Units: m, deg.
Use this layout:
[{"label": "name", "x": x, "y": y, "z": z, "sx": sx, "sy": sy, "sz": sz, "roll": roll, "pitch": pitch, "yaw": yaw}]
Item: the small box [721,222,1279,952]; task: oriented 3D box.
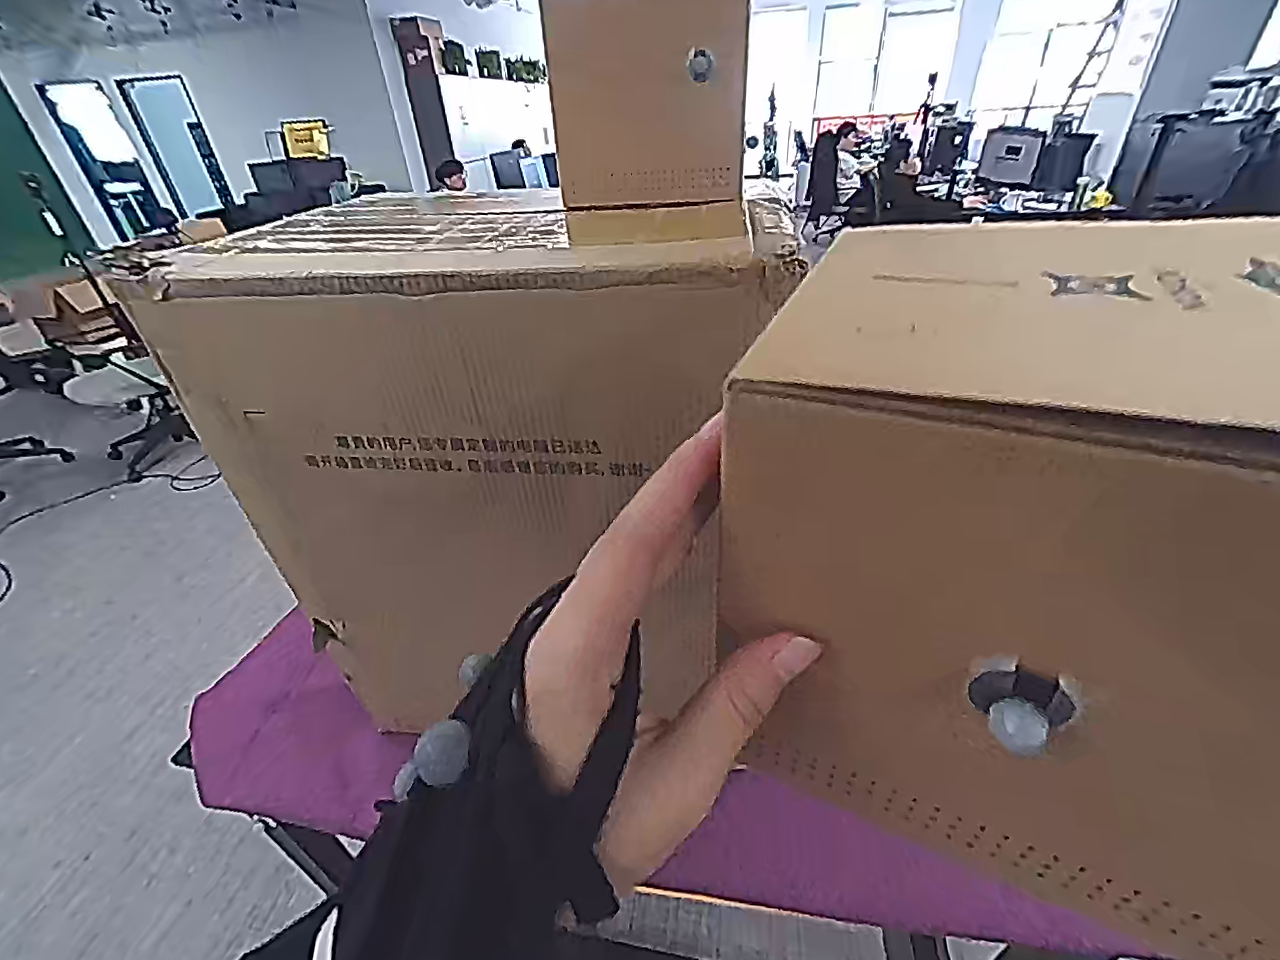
[{"label": "small box", "x": 0.138, "y": 0.019, "z": 0.193, "sx": 0.179, "sy": 0.176, "sz": 0.168, "roll": 13, "pitch": 39, "yaw": 24}]
